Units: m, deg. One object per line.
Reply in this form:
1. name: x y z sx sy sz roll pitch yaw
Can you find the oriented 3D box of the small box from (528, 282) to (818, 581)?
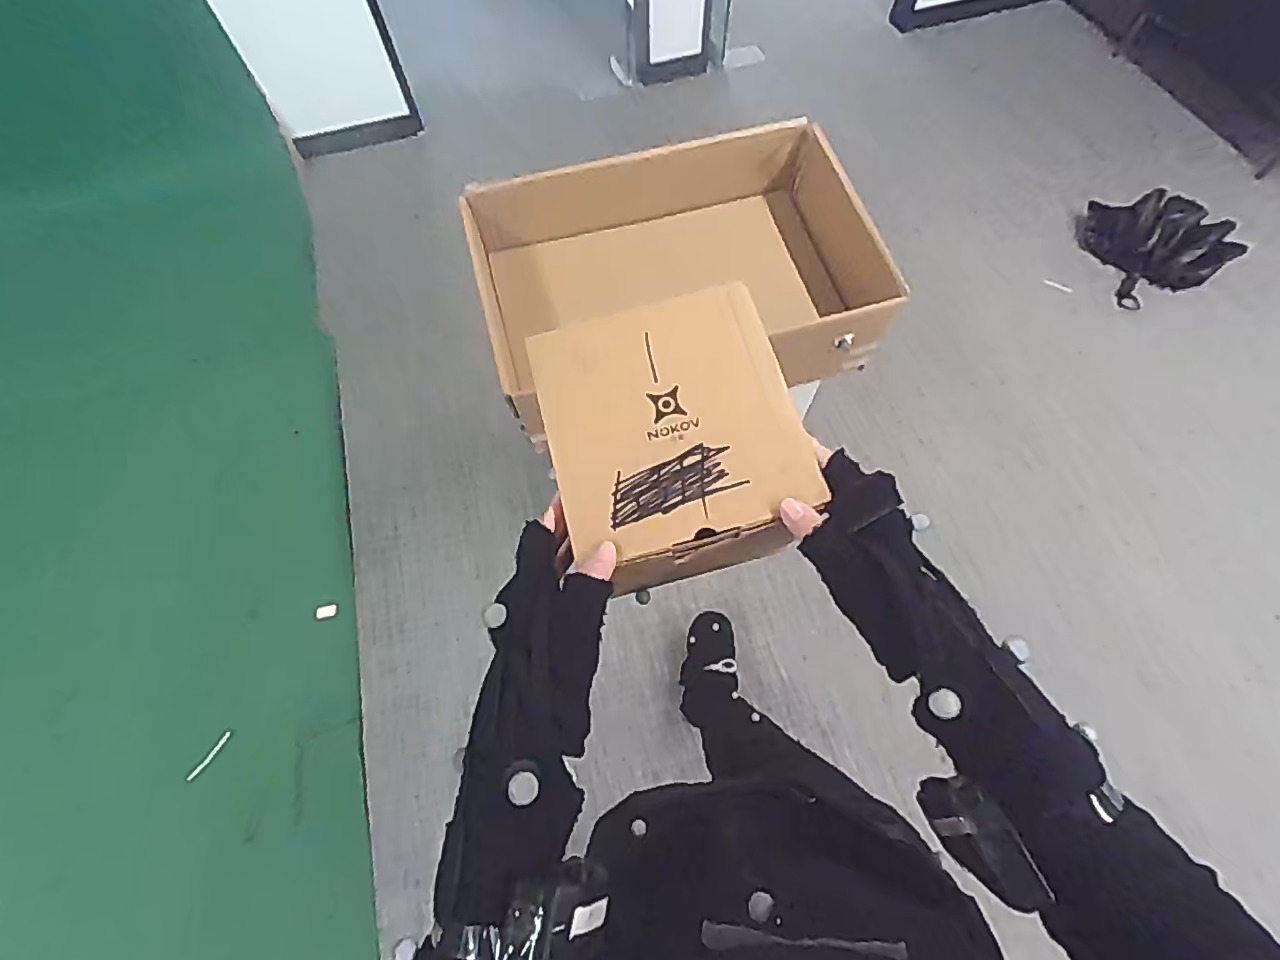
1. small box: 0.022 -0.022 0.443 0.168 0.176 0.179 -15 71 -1
